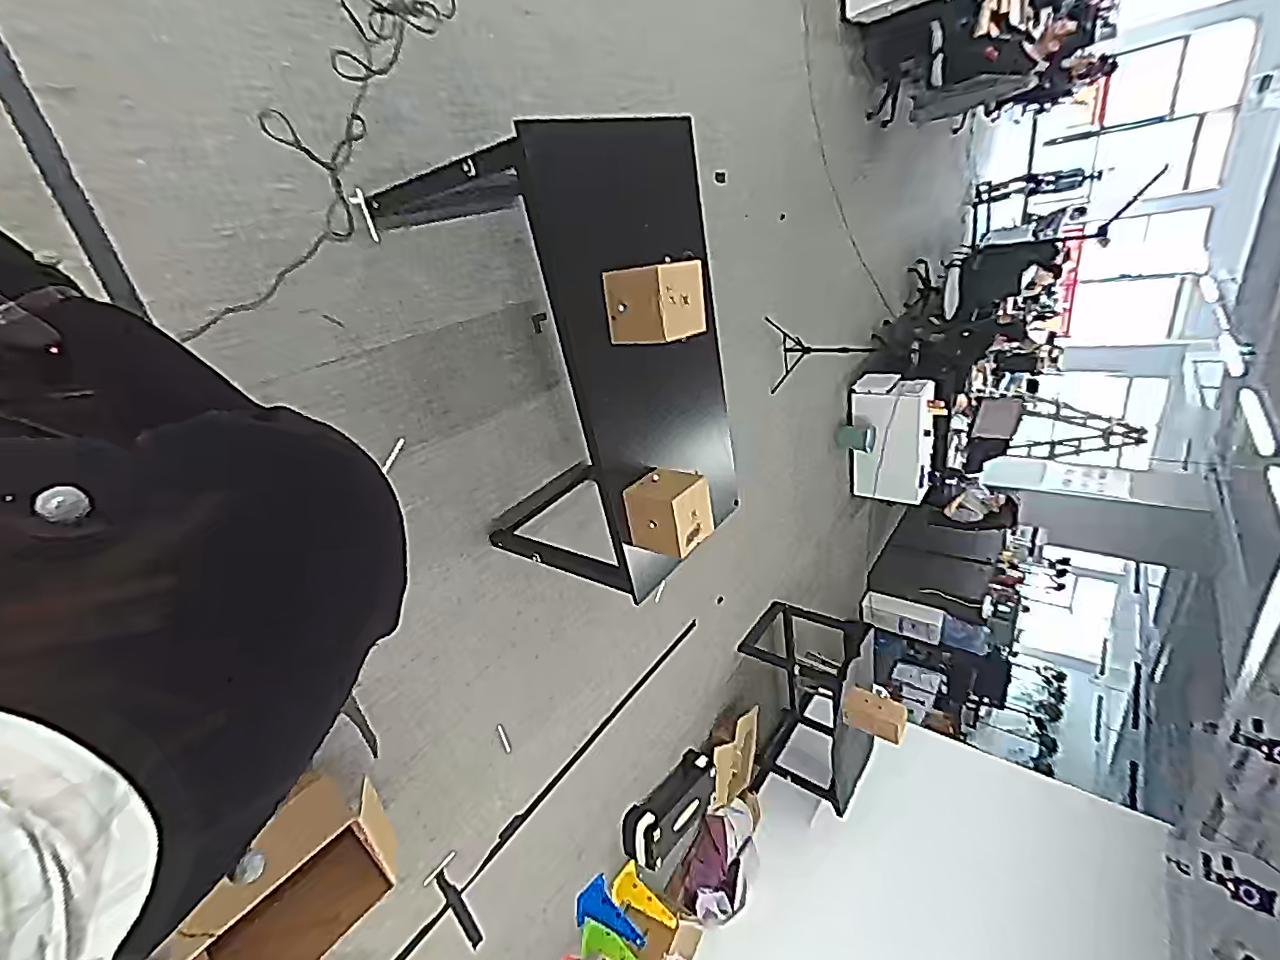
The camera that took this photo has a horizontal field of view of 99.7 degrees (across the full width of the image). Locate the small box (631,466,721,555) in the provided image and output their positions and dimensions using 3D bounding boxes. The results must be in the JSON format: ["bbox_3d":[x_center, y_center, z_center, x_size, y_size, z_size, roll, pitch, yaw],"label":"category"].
[{"bbox_3d":[0.098,0.075,1.469,0.168,0.176,0.179,-34,122,-42],"label":"small box"}]

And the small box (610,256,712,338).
[{"bbox_3d":[0.051,-0.439,1.299,0.179,0.176,0.168,-30,119,-43],"label":"small box"}]
